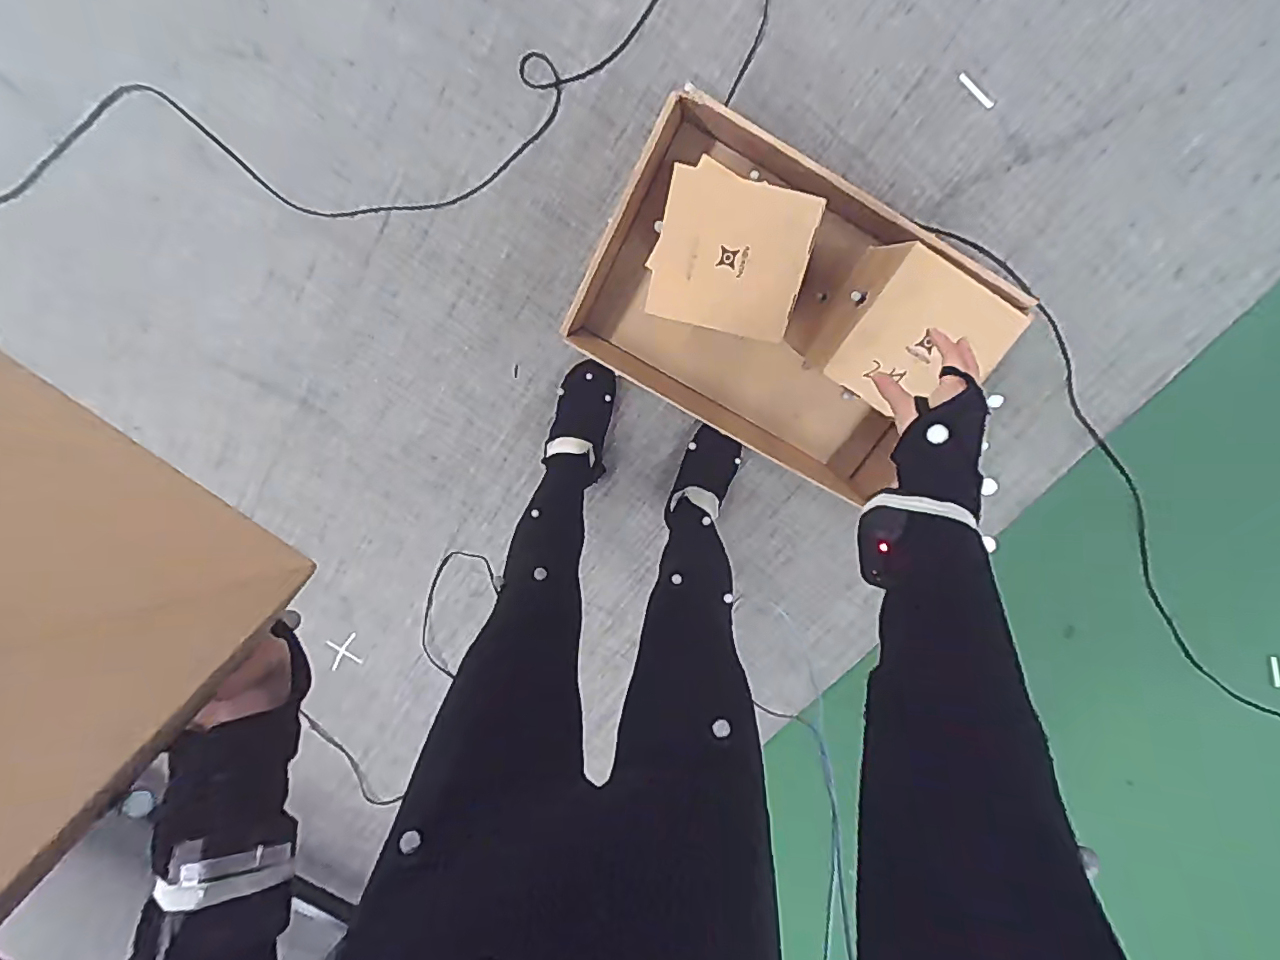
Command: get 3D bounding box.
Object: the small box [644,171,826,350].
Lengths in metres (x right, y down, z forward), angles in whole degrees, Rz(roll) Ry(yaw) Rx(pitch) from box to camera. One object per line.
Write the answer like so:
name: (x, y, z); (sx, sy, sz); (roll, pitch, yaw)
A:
small box: (0.113, -0.283, 0.703); (0.179, 0.176, 0.168); (14, 113, 0)

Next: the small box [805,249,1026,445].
small box: (0.341, -0.181, 0.715); (0.168, 0.176, 0.179); (31, 112, -6)
